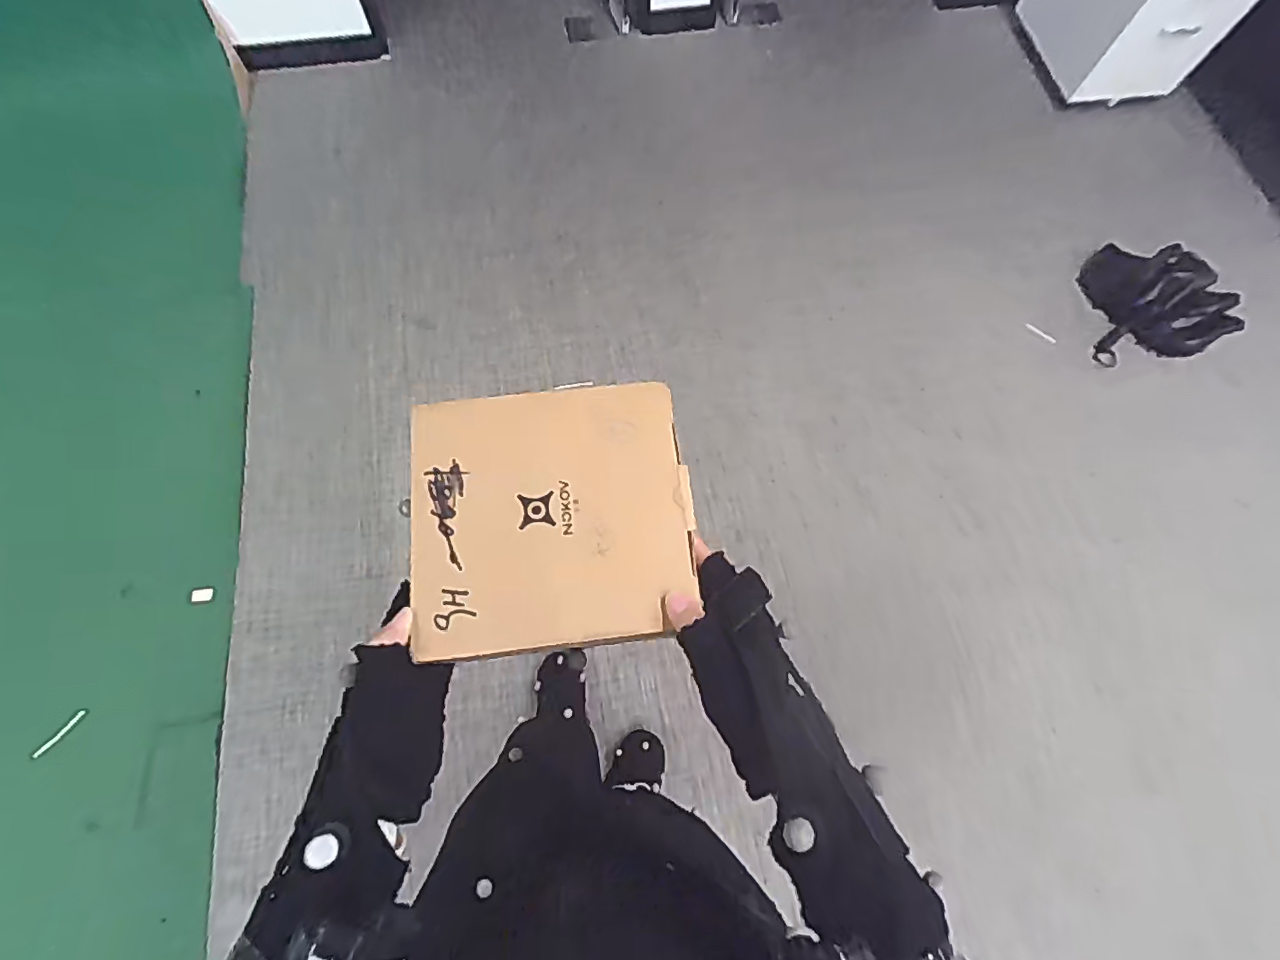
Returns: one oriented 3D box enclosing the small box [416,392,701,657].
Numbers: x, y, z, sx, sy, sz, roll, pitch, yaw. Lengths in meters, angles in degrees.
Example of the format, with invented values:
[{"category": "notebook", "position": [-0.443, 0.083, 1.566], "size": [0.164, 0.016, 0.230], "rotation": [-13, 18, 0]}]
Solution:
[{"category": "small box", "position": [-0.061, 0.045, 0.428], "size": [0.179, 0.176, 0.168], "rotation": [-5, 72, -5]}]
